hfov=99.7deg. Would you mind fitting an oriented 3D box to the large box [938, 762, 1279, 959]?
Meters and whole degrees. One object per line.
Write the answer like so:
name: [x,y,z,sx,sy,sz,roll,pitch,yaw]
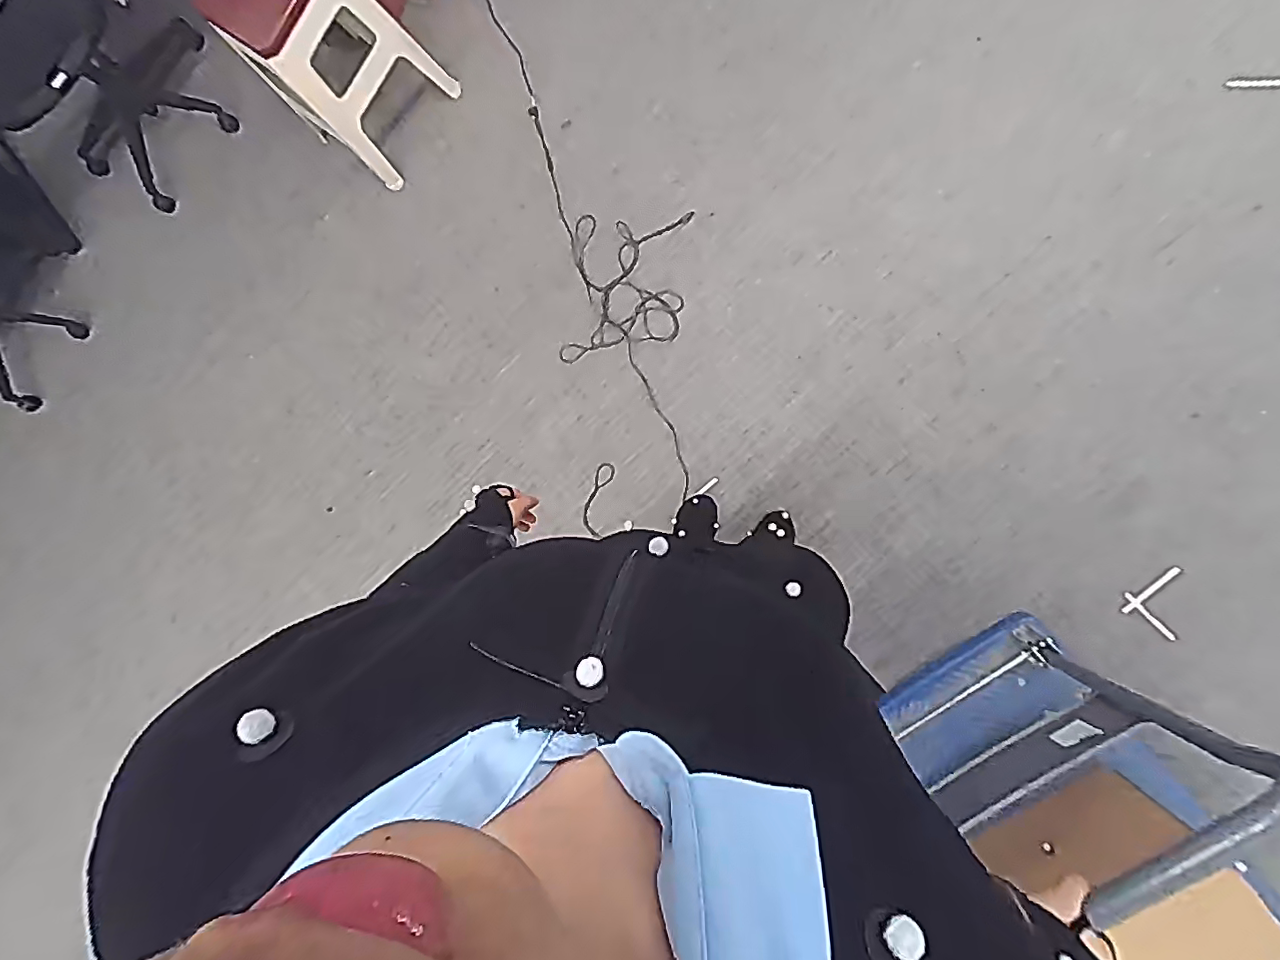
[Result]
large box: [0.844,0.802,0.966,0.408,0.320,0.320,-37,82,8]
